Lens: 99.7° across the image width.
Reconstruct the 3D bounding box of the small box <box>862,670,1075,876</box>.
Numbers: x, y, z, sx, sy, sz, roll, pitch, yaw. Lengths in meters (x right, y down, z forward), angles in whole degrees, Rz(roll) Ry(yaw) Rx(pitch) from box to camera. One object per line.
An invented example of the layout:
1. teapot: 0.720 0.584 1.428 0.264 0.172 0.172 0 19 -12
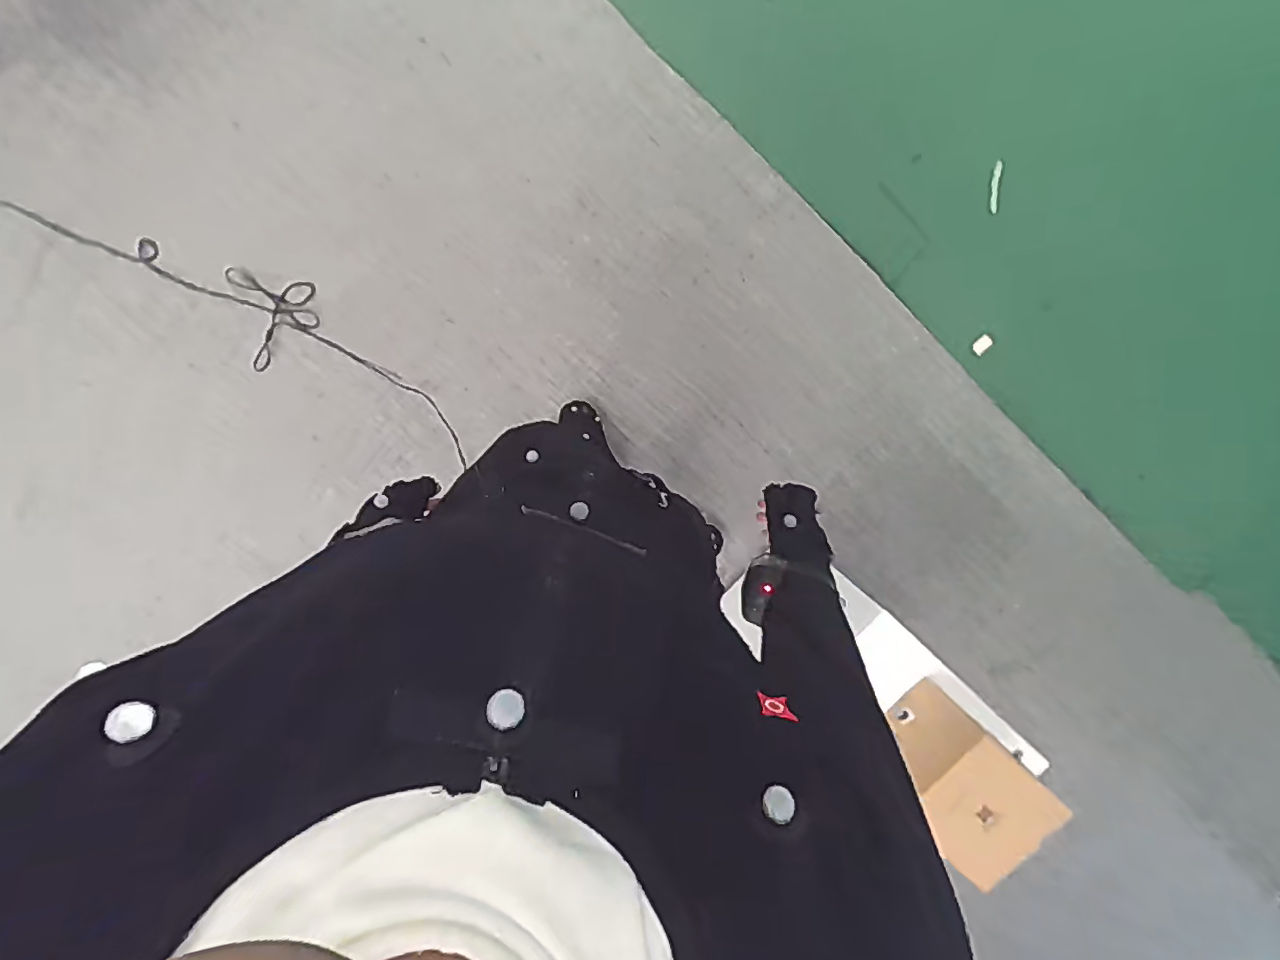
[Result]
1. small box: 0.476 0.425 0.813 0.179 0.176 0.168 41 97 -4
